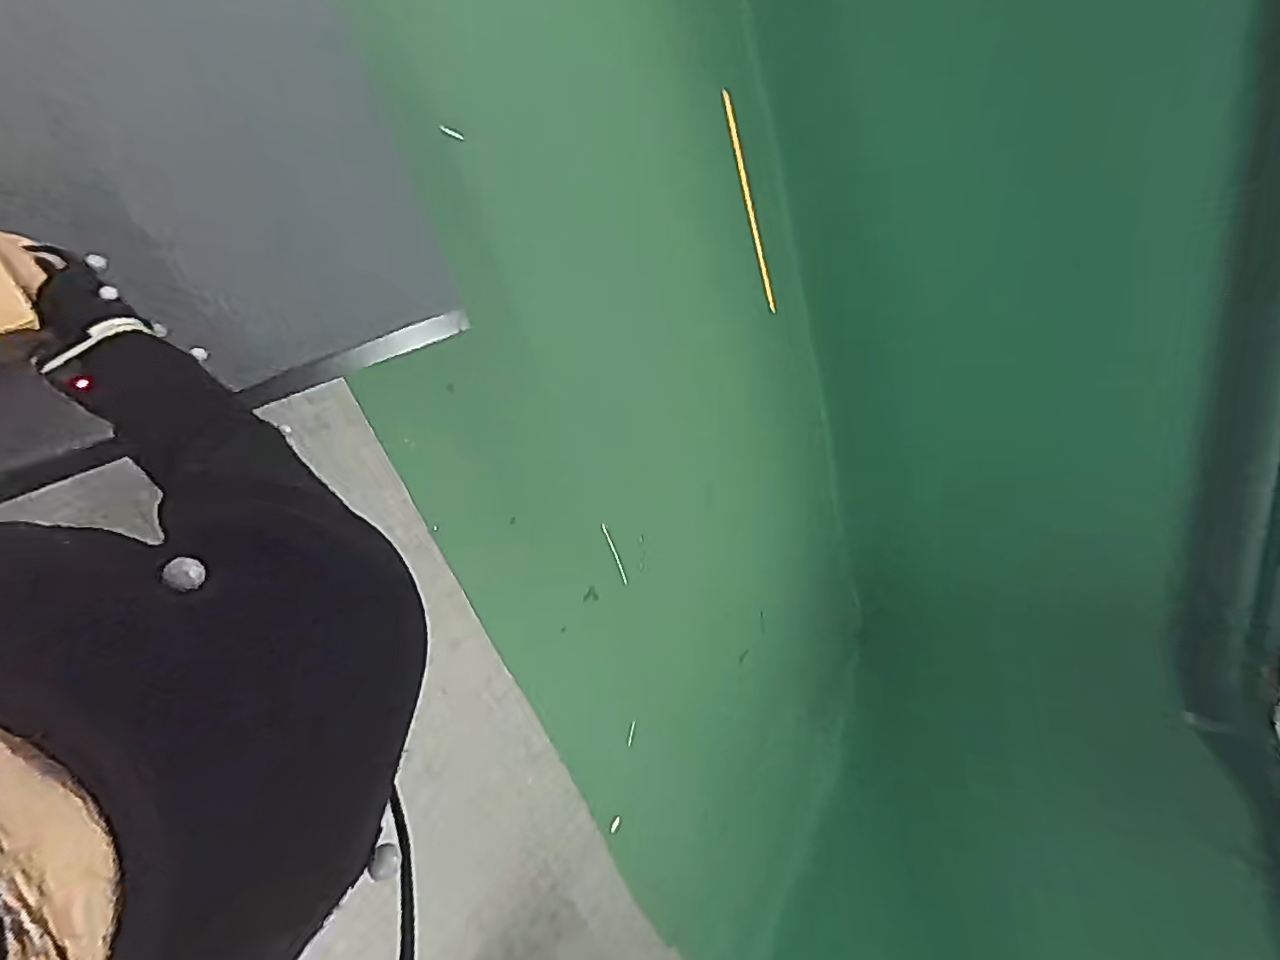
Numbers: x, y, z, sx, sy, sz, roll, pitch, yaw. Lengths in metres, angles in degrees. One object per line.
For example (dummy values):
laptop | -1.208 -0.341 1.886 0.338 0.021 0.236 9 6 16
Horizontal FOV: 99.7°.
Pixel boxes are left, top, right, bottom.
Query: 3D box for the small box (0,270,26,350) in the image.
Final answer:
small box | -0.606 -0.171 0.384 0.168 0.176 0.179 -37 118 -44
